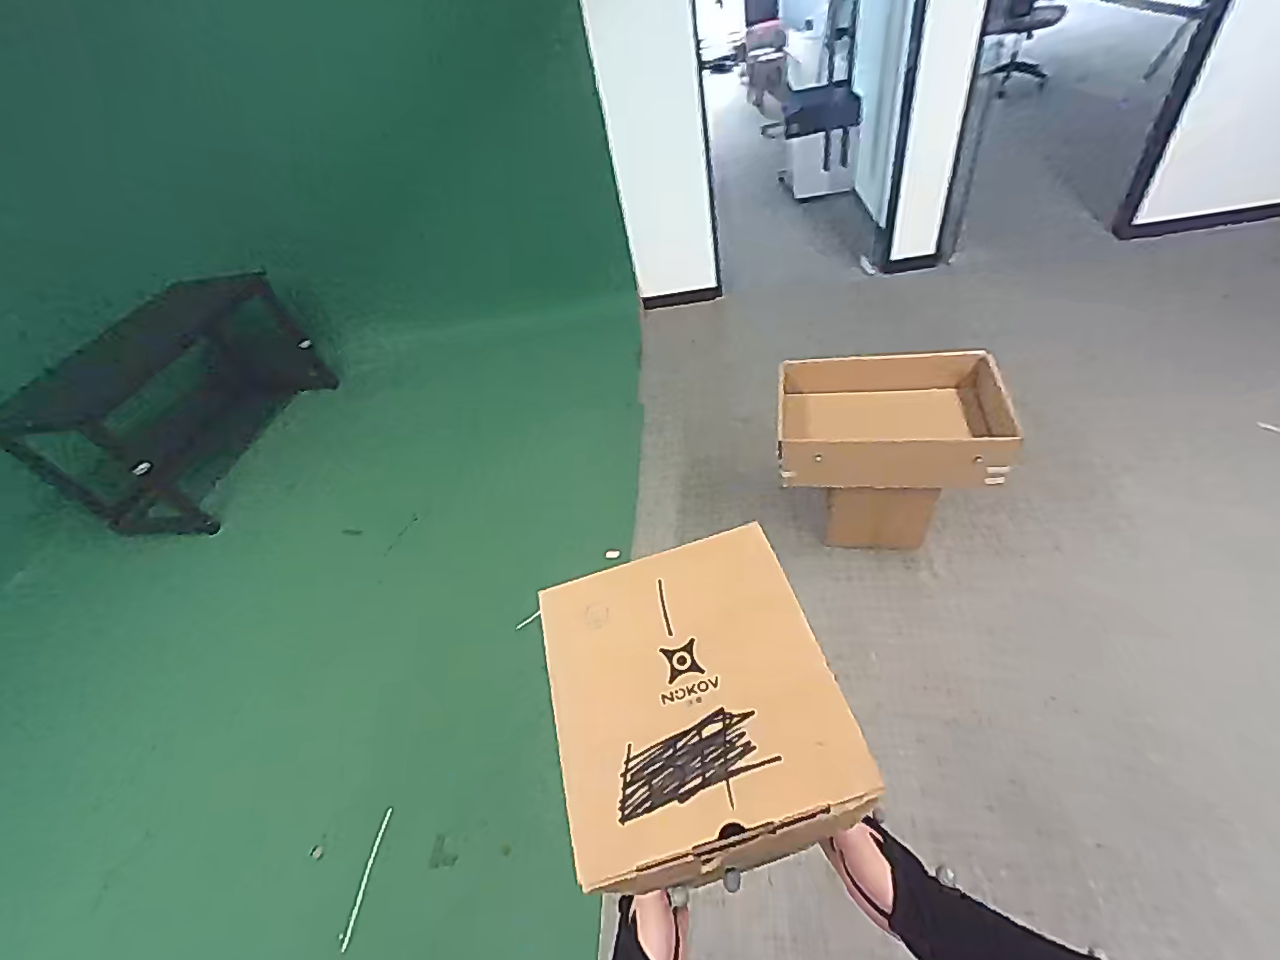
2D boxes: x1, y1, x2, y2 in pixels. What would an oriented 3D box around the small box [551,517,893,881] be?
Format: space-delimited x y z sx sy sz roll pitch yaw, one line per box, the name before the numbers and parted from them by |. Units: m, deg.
small box | 0.048 0.160 0.383 0.168 0.176 0.179 -16 50 0
